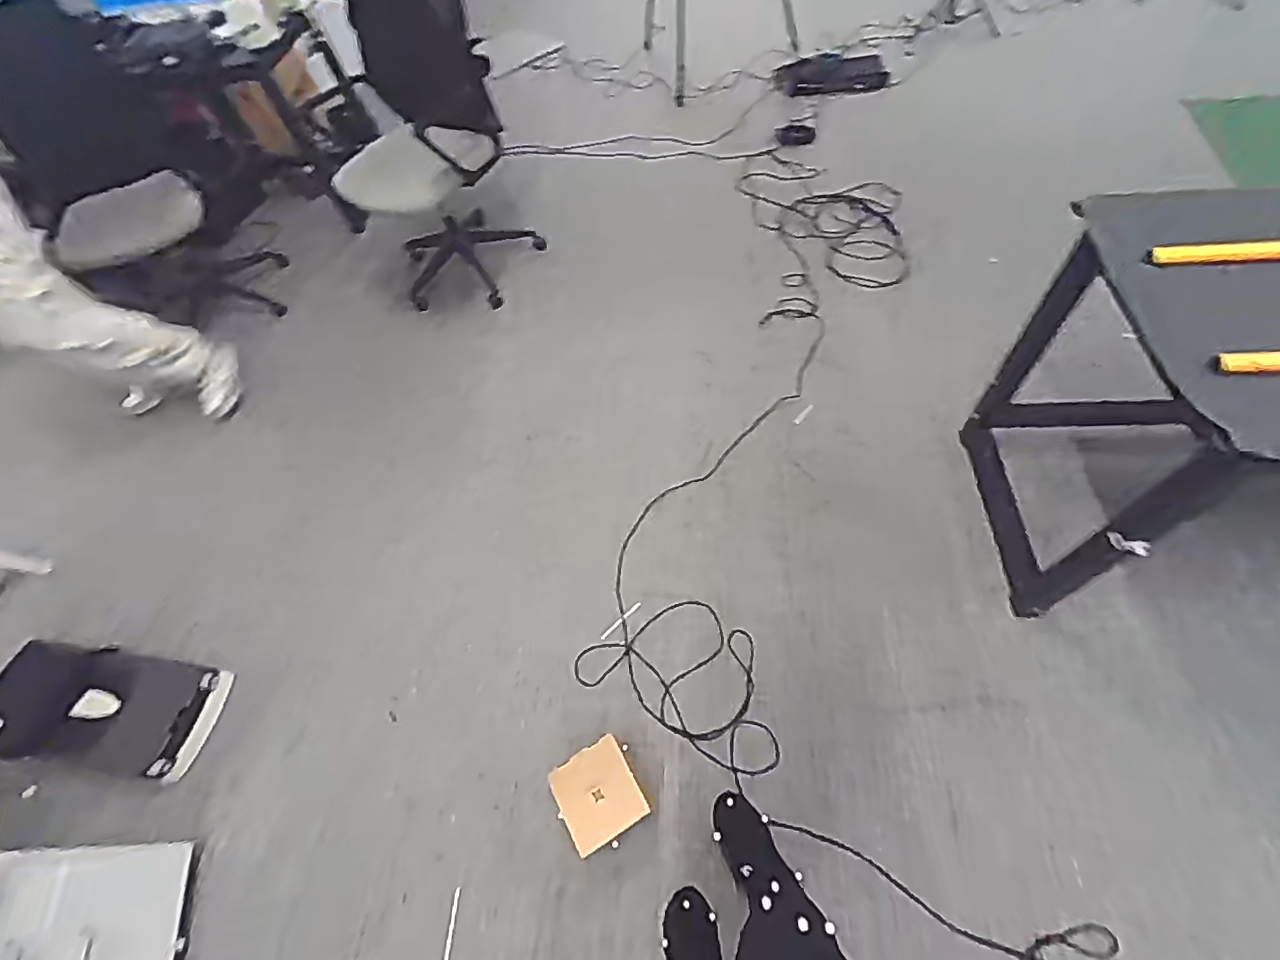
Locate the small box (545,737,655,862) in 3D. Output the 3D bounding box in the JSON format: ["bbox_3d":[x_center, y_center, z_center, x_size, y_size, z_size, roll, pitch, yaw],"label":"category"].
[{"bbox_3d":[-0.082,0.704,1.201,0.168,0.176,0.179,-31,59,-10],"label":"small box"}]
